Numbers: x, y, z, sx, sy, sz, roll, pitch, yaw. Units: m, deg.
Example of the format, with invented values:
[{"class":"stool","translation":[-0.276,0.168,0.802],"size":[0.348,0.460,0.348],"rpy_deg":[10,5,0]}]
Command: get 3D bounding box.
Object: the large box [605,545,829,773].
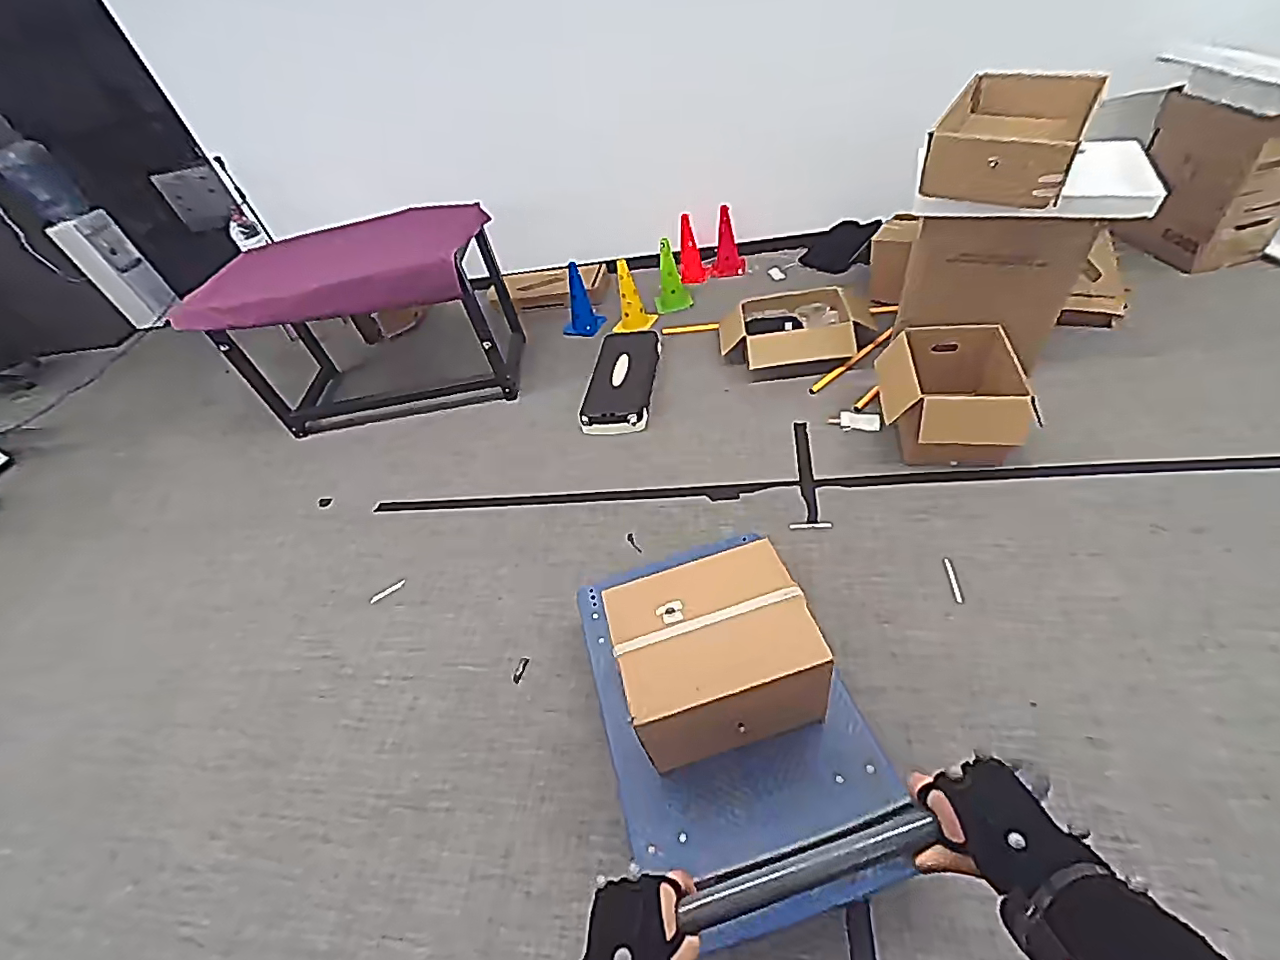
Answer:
[{"class":"large box","translation":[0.174,0.414,1.248],"size":[0.408,0.320,0.320],"rpy_deg":[-19,44,-2]}]
